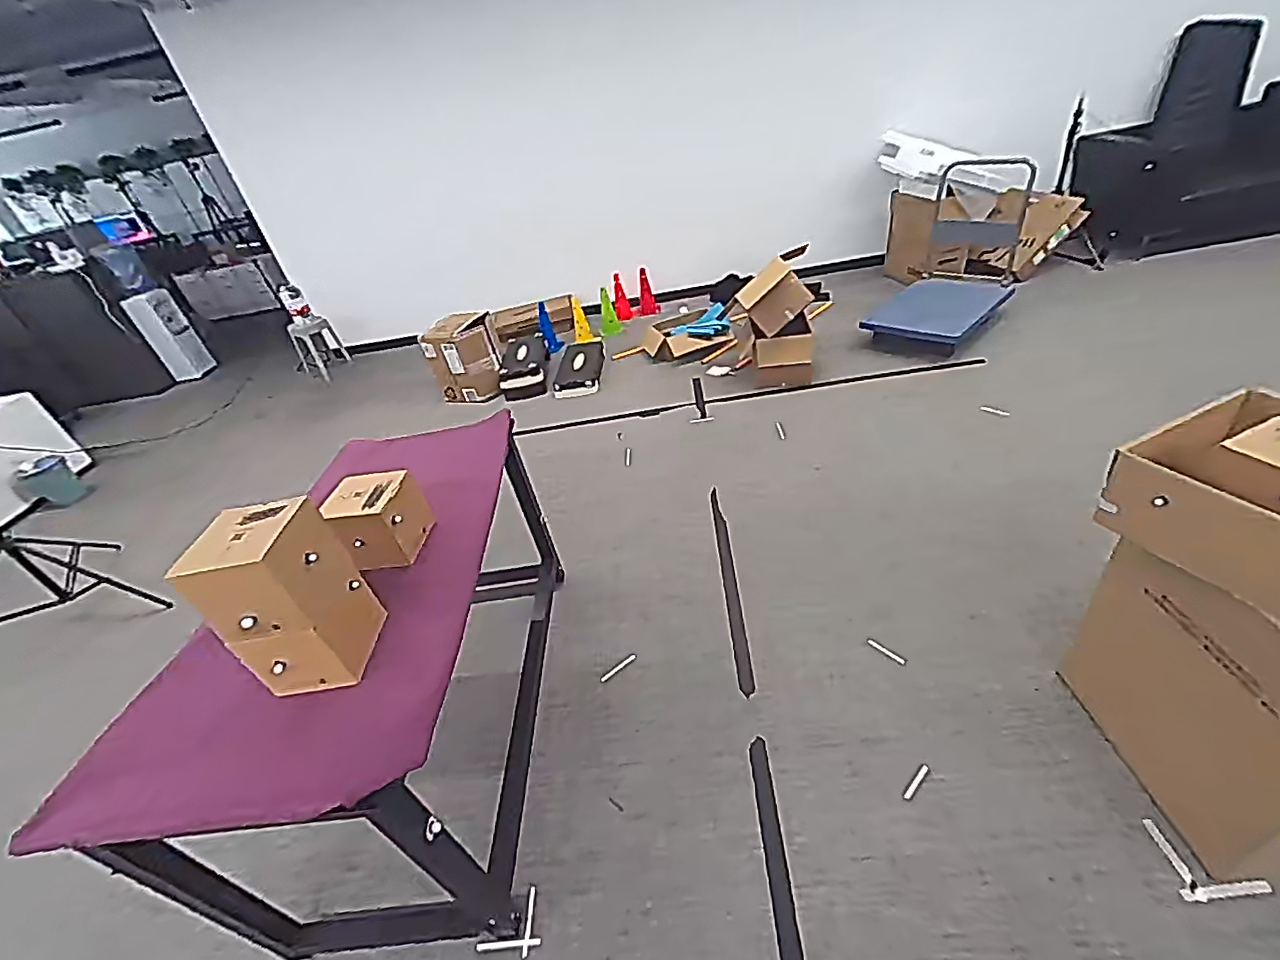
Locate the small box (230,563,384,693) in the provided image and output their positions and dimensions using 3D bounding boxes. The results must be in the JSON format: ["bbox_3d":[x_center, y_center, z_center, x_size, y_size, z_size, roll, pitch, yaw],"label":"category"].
[{"bbox_3d":[-0.631,0.294,1.054,0.168,0.176,0.179,-10,35,2],"label":"small box"}]

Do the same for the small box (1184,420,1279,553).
[{"bbox_3d":[1.206,0.018,1.017,0.168,0.176,0.179,-21,36,-10],"label":"small box"}]

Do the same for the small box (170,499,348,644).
[{"bbox_3d":[-0.654,0.160,0.961,0.168,0.176,0.179,-11,35,3],"label":"small box"}]
